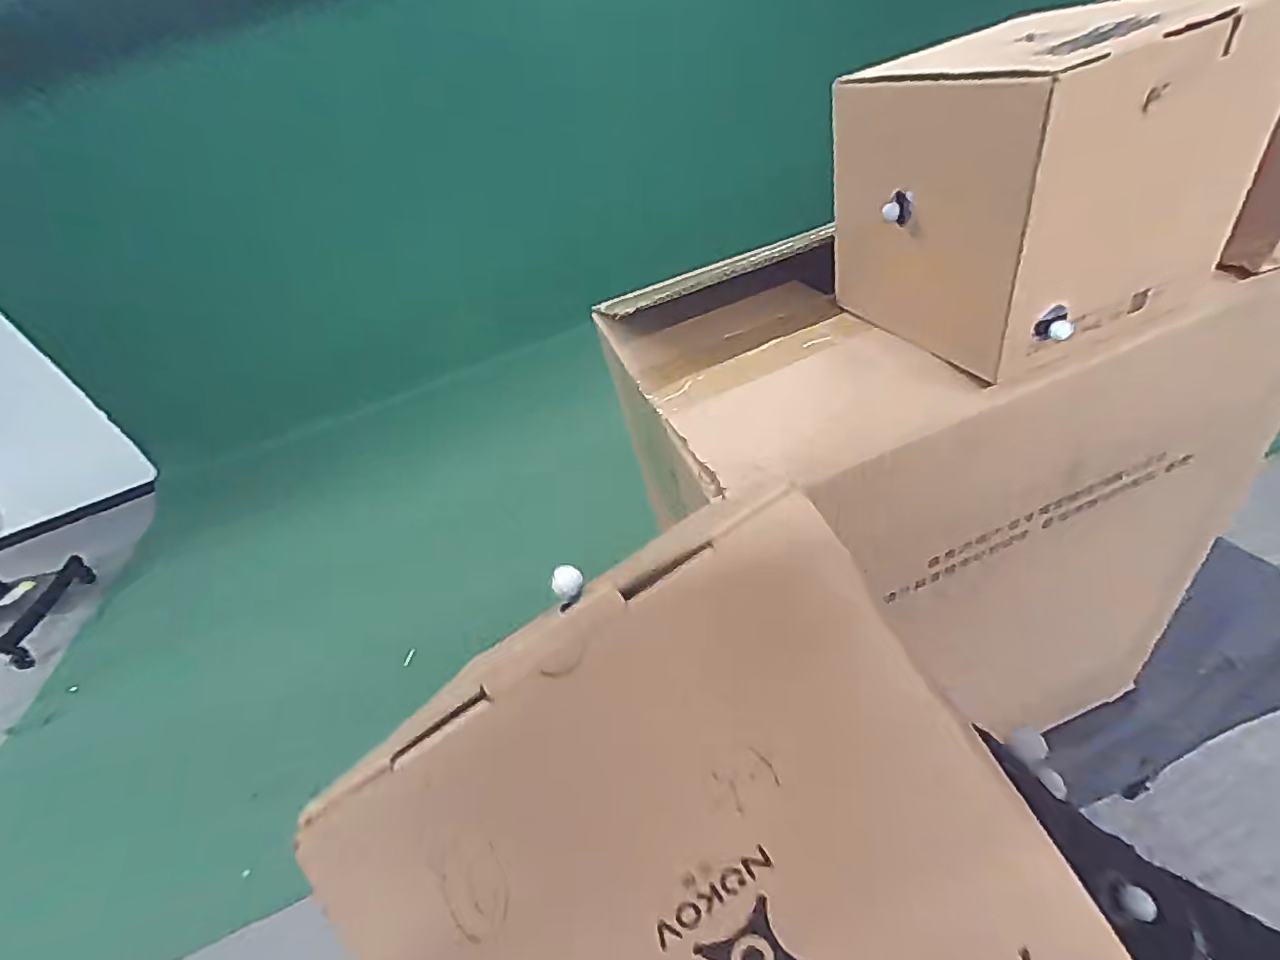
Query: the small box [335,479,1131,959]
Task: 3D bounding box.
[{"bbox_3d":[0.025,0.123,0.229,0.168,0.179,0.176,-33,-5,-4],"label":"small box"}]
